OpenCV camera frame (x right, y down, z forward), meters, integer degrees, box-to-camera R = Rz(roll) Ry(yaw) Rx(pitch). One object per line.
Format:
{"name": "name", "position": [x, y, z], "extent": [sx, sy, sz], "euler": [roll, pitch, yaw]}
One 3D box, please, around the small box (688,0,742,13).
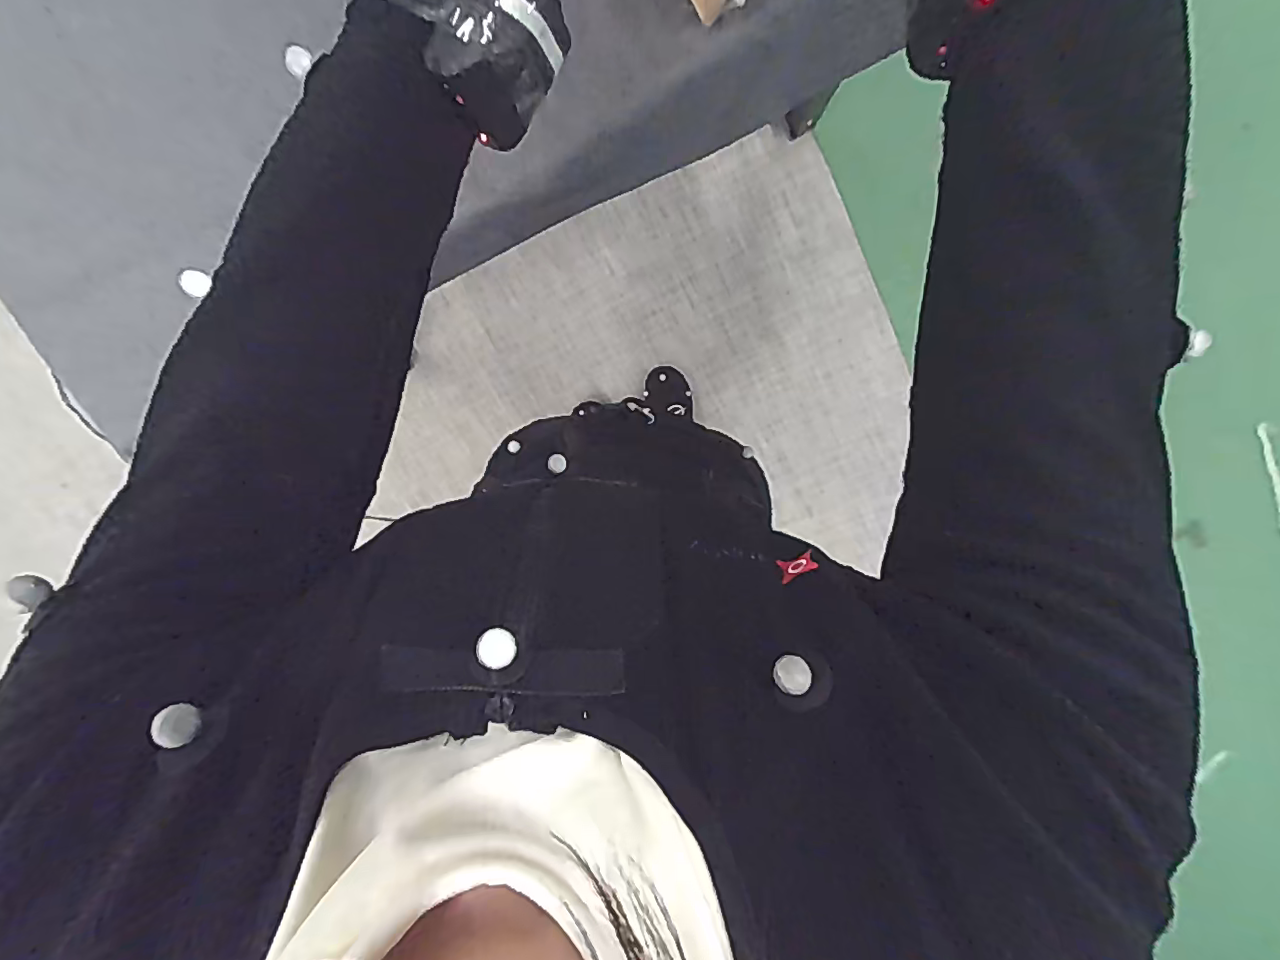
{"name": "small box", "position": [0.083, -0.551, 0.452], "extent": [0.168, 0.176, 0.179], "euler": [-30, 99, 13]}
